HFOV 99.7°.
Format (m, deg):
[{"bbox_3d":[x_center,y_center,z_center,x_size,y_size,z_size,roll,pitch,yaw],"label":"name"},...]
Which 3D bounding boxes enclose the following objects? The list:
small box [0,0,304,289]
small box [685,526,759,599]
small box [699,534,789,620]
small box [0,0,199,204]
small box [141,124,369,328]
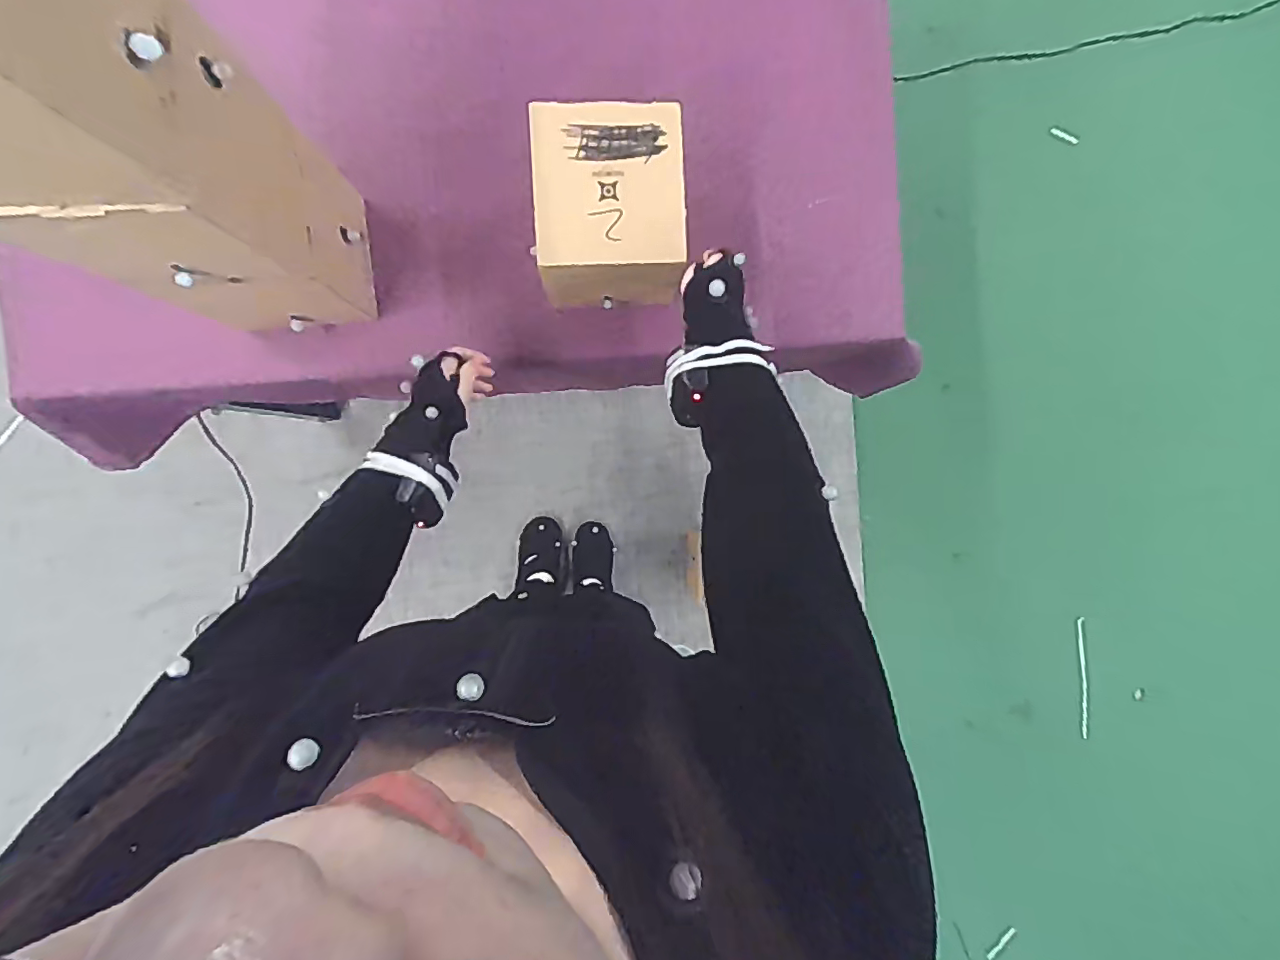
[{"bbox_3d":[-0.427,-0.284,0.474,0.168,0.176,0.179,-5,93,-4],"label":"small box"},{"bbox_3d":[0.217,0.217,1.452,0.179,0.176,0.168,-1,93,-6],"label":"small box"},{"bbox_3d":[0.240,0.226,1.291,0.179,0.176,0.168,-3,94,-6],"label":"small box"},{"bbox_3d":[-0.408,-0.278,0.310,0.179,0.176,0.168,-3,93,-5],"label":"small box"},{"bbox_3d":[-0.441,-0.286,0.639,0.179,0.176,0.168,-6,92,-5],"label":"small box"}]
